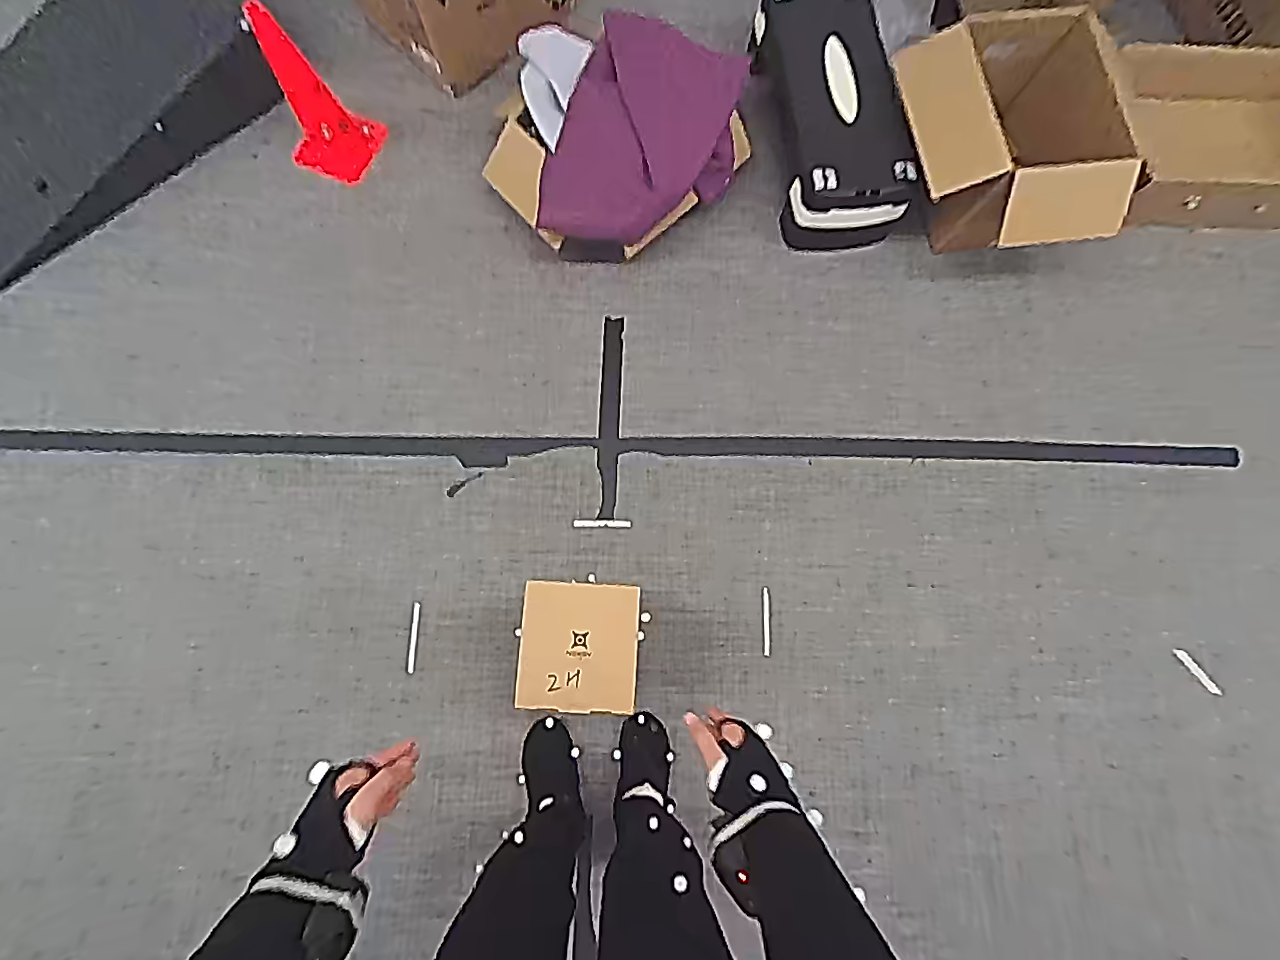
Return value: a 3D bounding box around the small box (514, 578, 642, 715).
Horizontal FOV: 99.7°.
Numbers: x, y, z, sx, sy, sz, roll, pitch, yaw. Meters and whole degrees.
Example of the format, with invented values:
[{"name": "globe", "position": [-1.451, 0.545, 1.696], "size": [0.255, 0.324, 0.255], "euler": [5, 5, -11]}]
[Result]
[{"name": "small box", "position": [-0.088, 0.245, 0.826], "size": [0.168, 0.176, 0.179], "euler": [4, 79, 0]}]
